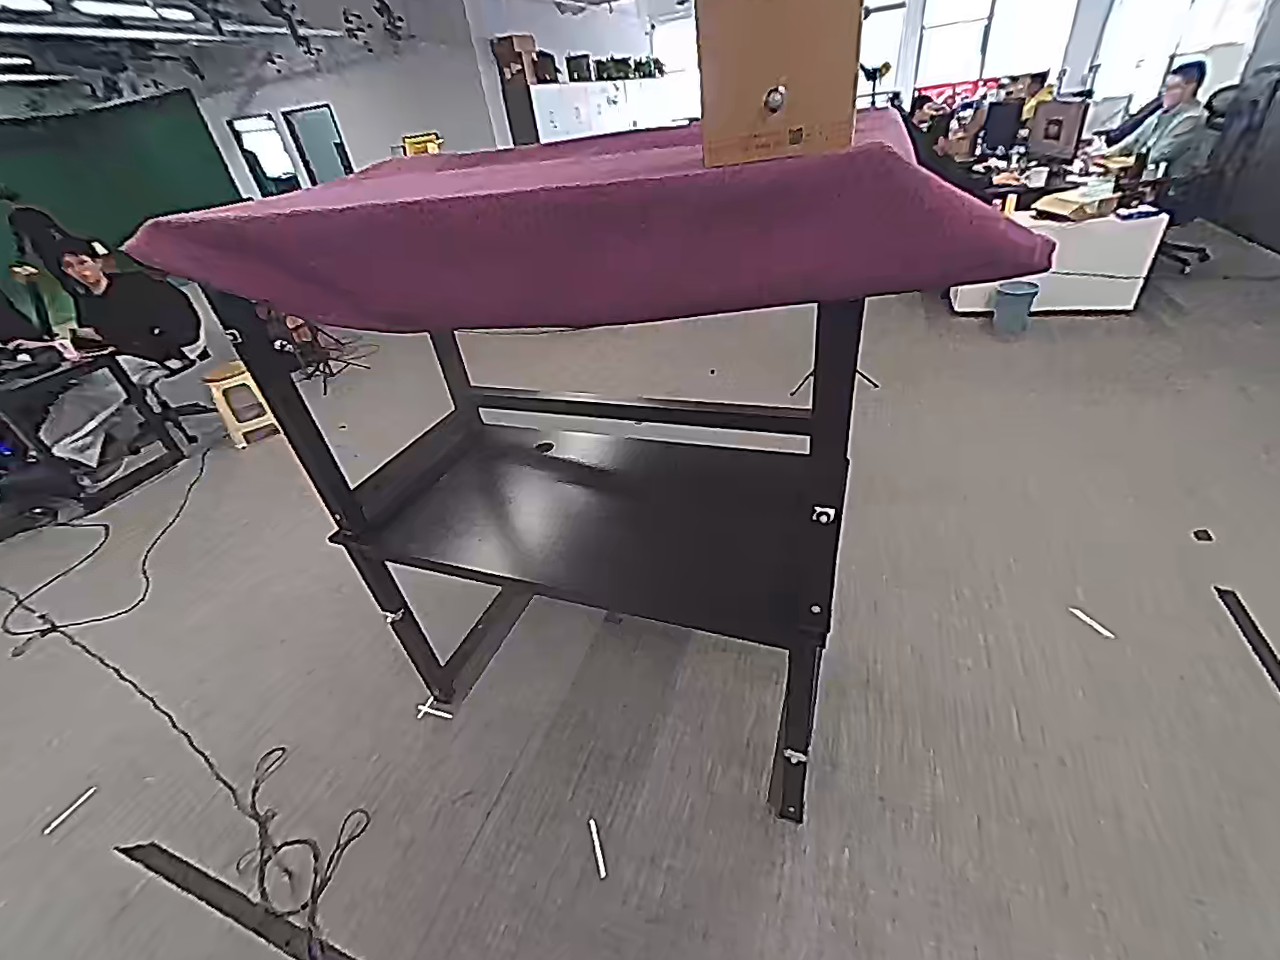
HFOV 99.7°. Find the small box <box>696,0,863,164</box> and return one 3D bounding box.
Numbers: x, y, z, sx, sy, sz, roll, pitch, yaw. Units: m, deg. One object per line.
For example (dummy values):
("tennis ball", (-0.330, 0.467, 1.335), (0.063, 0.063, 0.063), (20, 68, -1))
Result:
("small box", (0.161, -0.476, 0.630), (0.168, 0.176, 0.179), (1, 35, 16))
